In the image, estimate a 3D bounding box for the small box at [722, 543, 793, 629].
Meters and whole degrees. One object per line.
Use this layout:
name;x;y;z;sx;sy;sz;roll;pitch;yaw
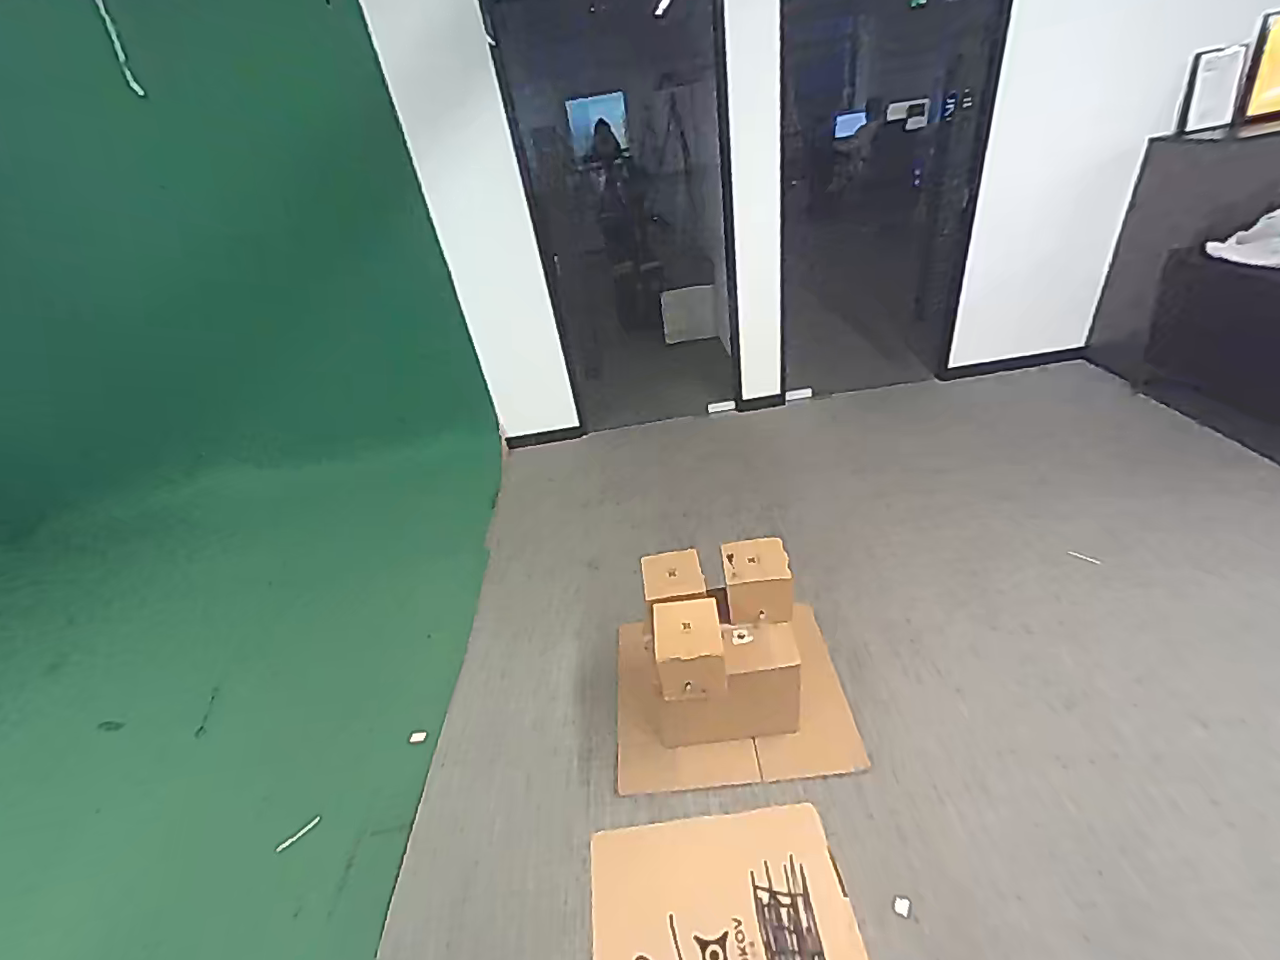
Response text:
small box;0.329;0.302;1.534;0.179;0.176;0.168;-6;34;7

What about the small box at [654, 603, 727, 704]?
small box;0.127;0.443;1.383;0.168;0.176;0.179;-7;35;3
